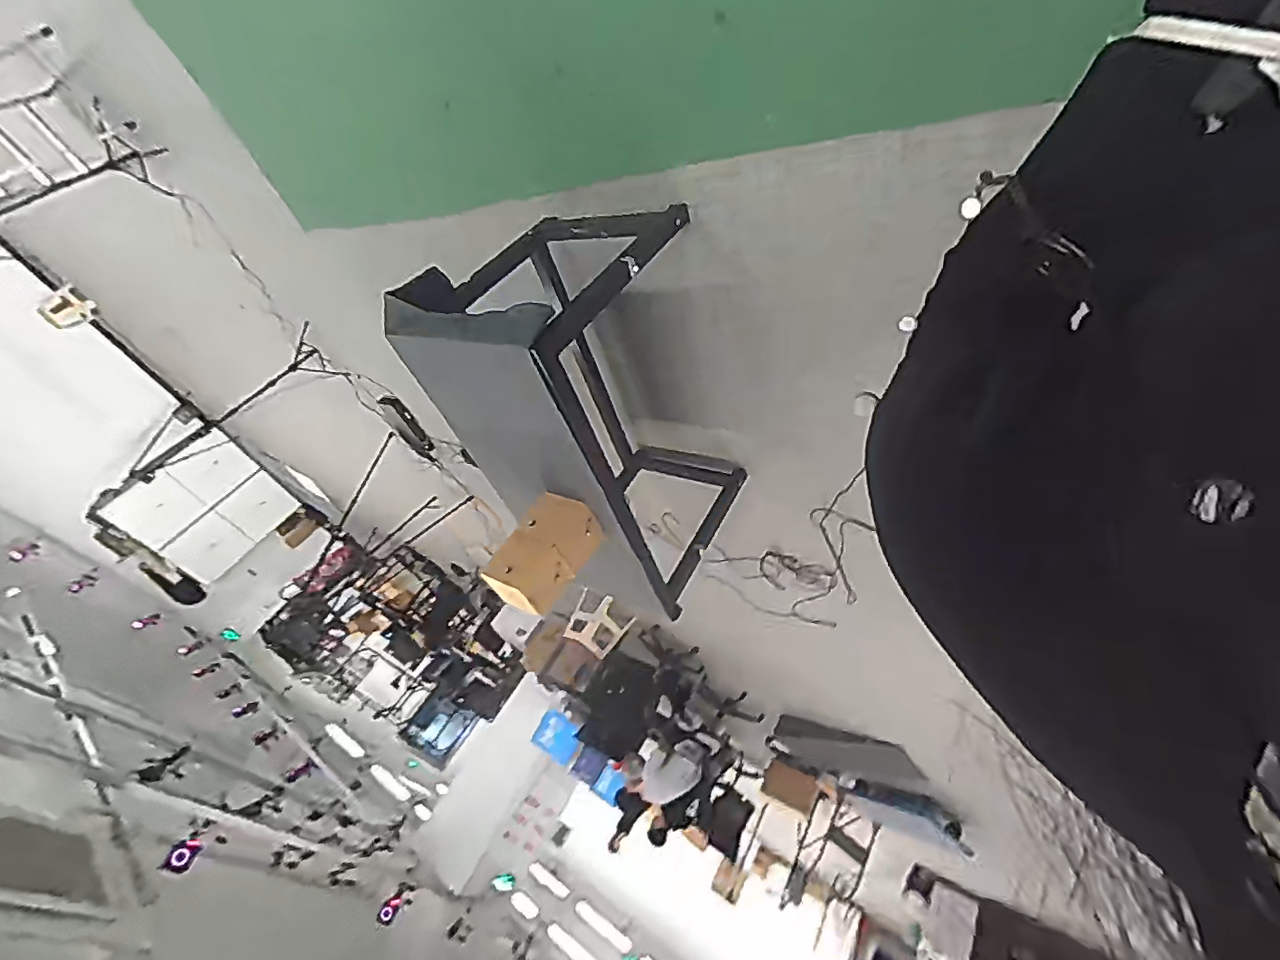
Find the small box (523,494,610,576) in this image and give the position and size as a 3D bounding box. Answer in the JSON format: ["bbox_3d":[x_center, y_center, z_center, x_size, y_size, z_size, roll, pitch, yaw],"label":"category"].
[{"bbox_3d":[-0.224,0.166,1.692,0.179,0.176,0.168,13,144,36],"label":"small box"}]

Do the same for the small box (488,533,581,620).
[{"bbox_3d":[-0.309,0.280,1.613,0.179,0.176,0.168,13,143,36],"label":"small box"}]
